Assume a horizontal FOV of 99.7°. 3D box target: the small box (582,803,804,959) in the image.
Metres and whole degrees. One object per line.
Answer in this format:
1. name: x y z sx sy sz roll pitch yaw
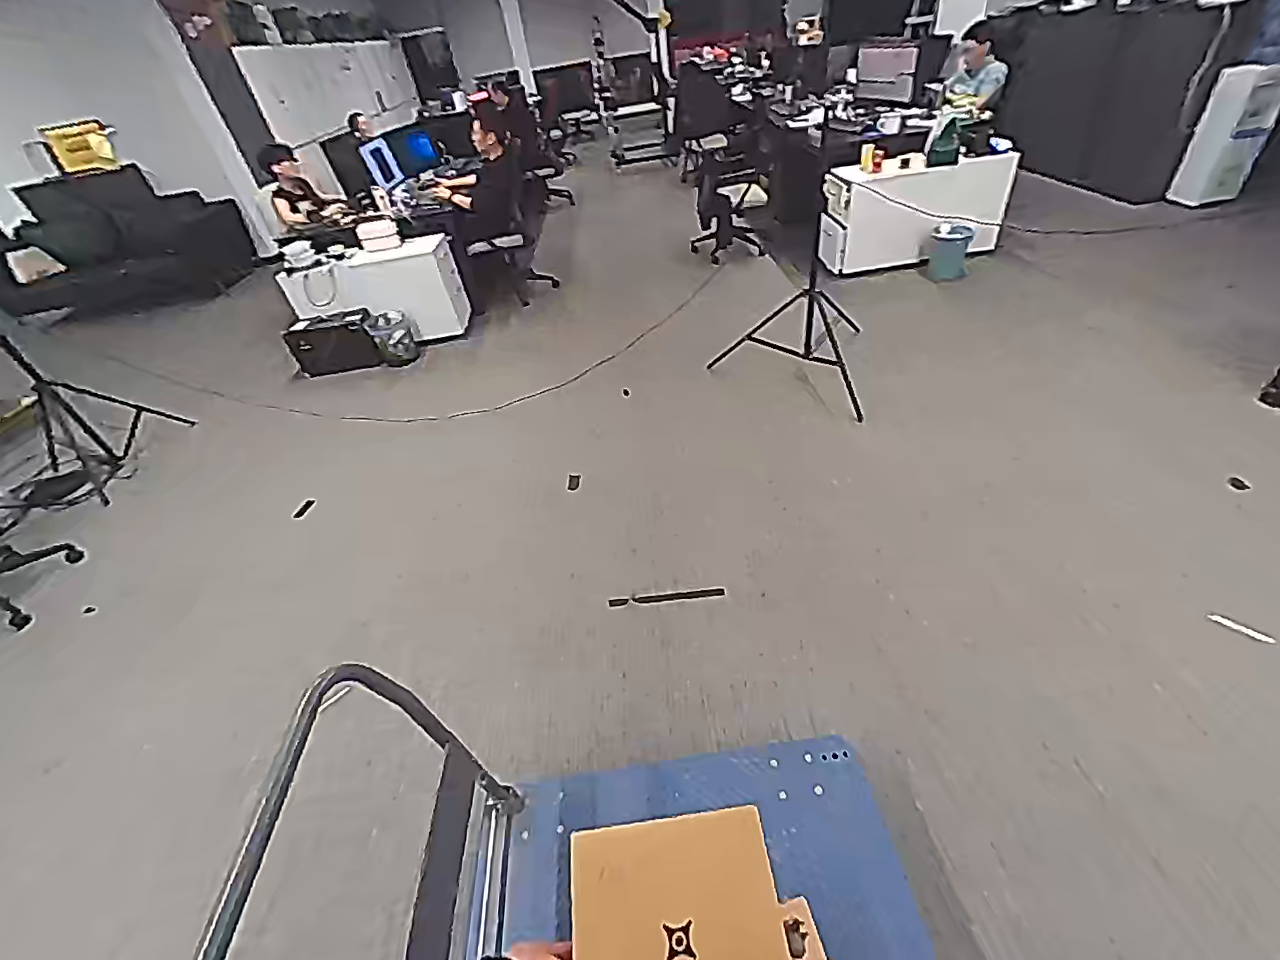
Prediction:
1. small box: 0.044 0.405 0.466 0.168 0.176 0.179 -8 49 -1
